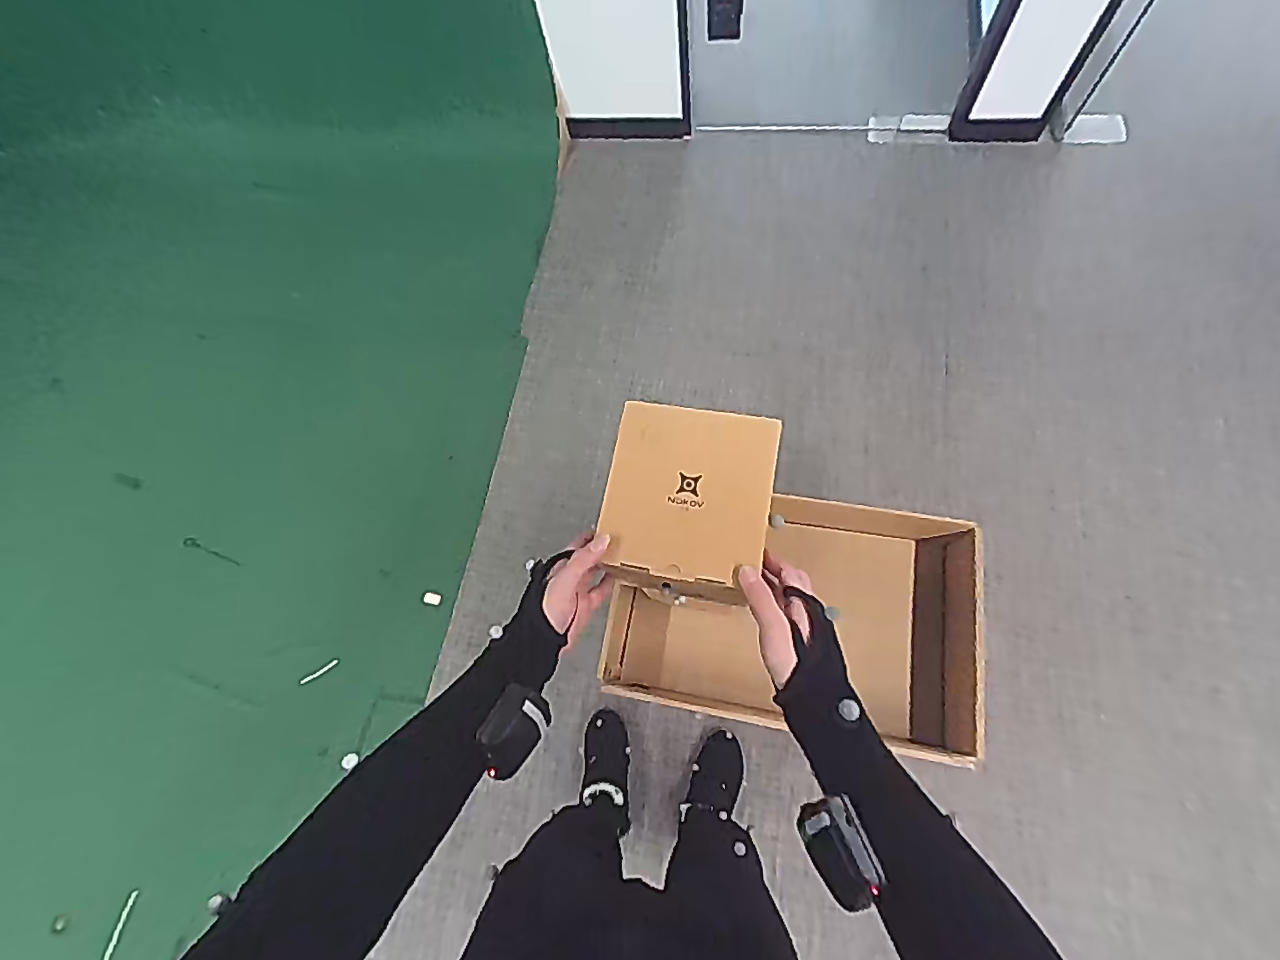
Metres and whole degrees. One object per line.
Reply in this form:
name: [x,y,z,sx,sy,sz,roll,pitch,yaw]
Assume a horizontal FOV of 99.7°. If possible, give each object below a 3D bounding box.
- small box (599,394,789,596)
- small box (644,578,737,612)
small box: [0.063,0.026,0.617,0.168,0.176,0.179,10,75,10]
small box: [0.111,0.143,1.031,0.168,0.176,0.179,9,72,11]
